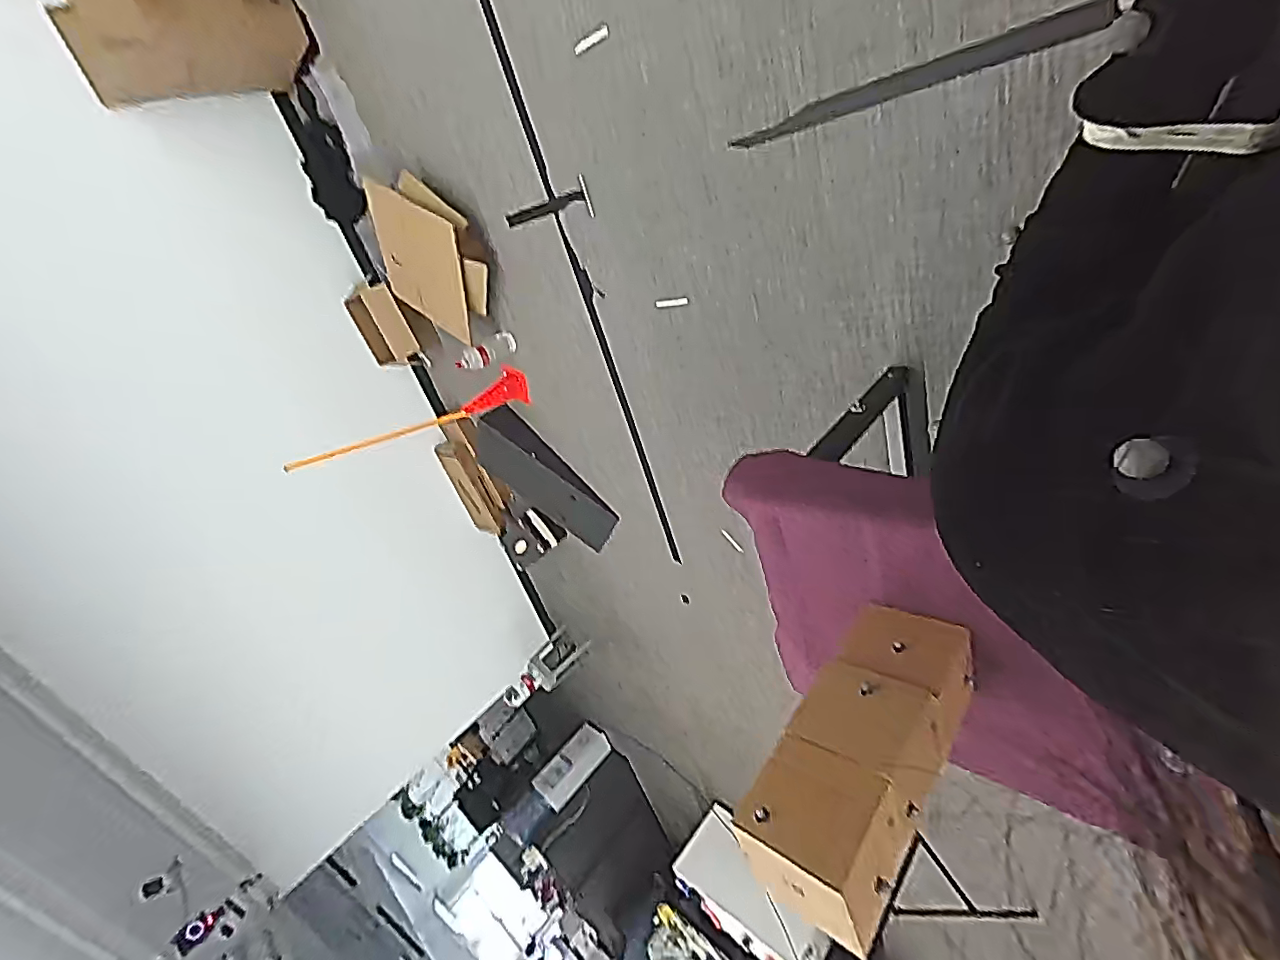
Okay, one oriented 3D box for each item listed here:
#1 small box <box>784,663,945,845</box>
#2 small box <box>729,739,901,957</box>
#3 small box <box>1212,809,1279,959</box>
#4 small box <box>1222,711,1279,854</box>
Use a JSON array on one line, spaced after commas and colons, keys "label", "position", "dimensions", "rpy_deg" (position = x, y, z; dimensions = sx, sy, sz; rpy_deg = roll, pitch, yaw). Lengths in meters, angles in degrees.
[{"label": "small box", "position": [0.368, 0.429, 0.881], "dimensions": [0.179, 0.176, 0.168], "rpy_deg": [5, 126, 47]}, {"label": "small box", "position": [0.265, 0.521, 0.794], "dimensions": [0.179, 0.176, 0.168], "rpy_deg": [5, 125, 47]}, {"label": "small box", "position": [0.705, 0.485, 0.540], "dimensions": [0.168, 0.176, 0.179], "rpy_deg": [9, 127, 44]}, {"label": "small box", "position": [0.816, 0.411, 0.633], "dimensions": [0.168, 0.176, 0.179], "rpy_deg": [11, 130, 45]}]
